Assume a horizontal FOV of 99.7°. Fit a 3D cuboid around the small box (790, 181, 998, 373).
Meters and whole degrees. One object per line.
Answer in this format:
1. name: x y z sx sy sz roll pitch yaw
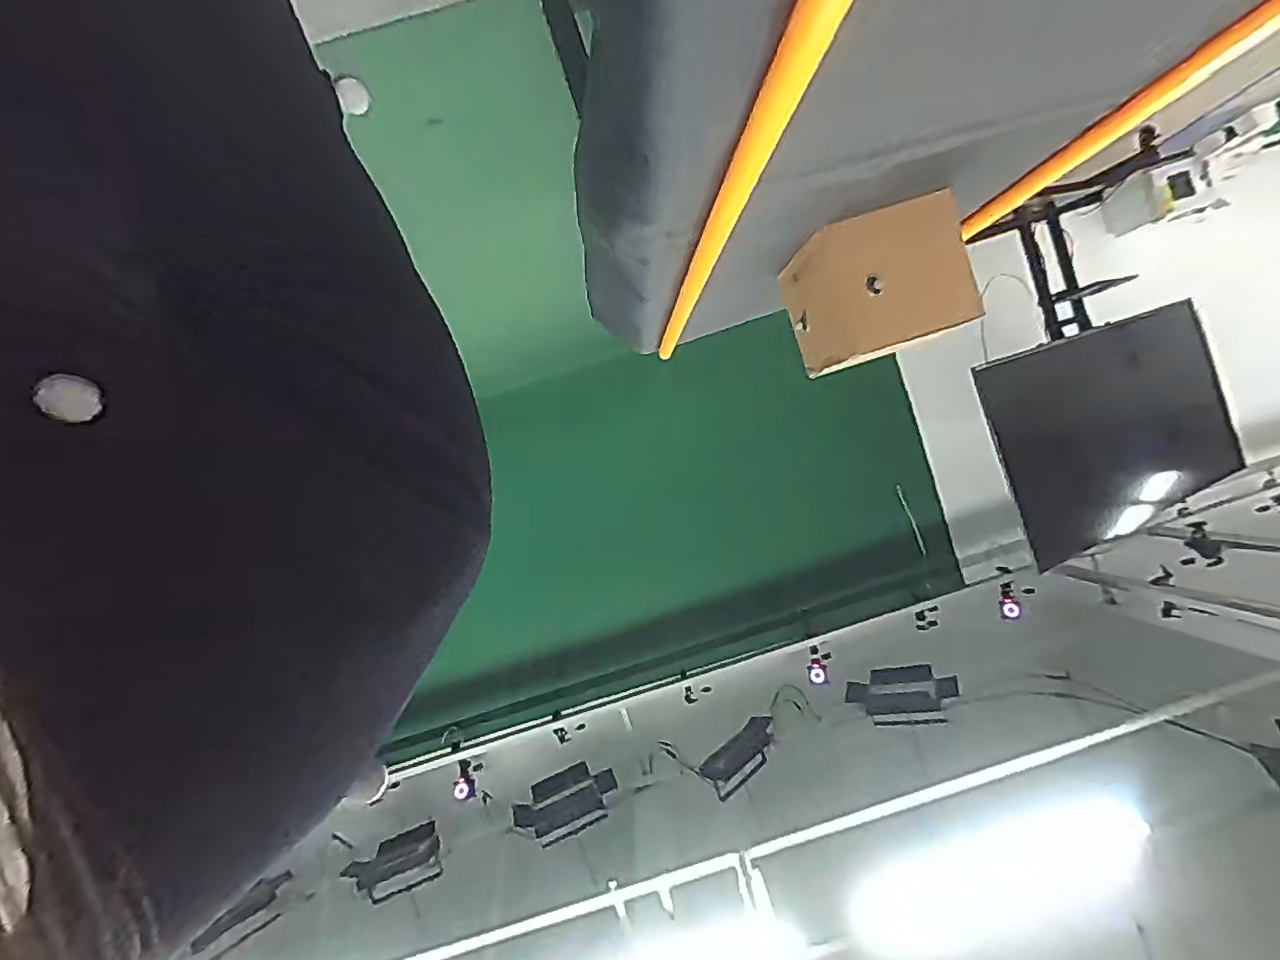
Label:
1. small box: 0.327 -0.266 0.734 0.179 0.176 0.168 -20 -177 -2
